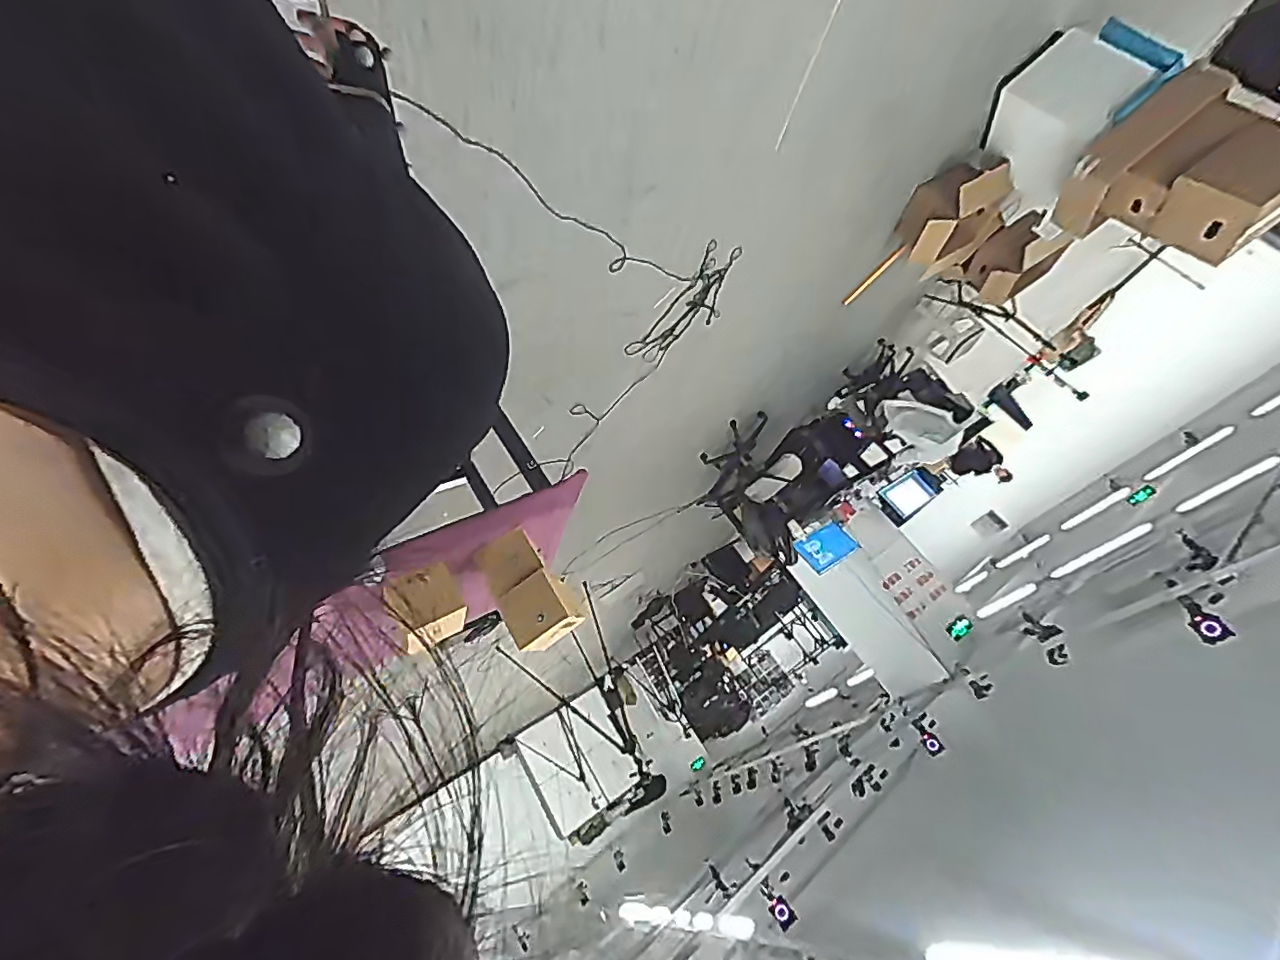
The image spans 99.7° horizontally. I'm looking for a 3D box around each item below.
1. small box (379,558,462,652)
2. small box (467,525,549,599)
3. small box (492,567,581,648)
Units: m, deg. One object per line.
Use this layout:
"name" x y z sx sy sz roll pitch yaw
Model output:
"small box" -0.624 0.350 1.531 0.168 0.176 0.179 -22 155 -35
"small box" -0.406 0.265 1.687 0.179 0.176 0.168 -32 158 -11
"small box" -0.309 0.380 1.617 0.179 0.176 0.168 -36 159 1
